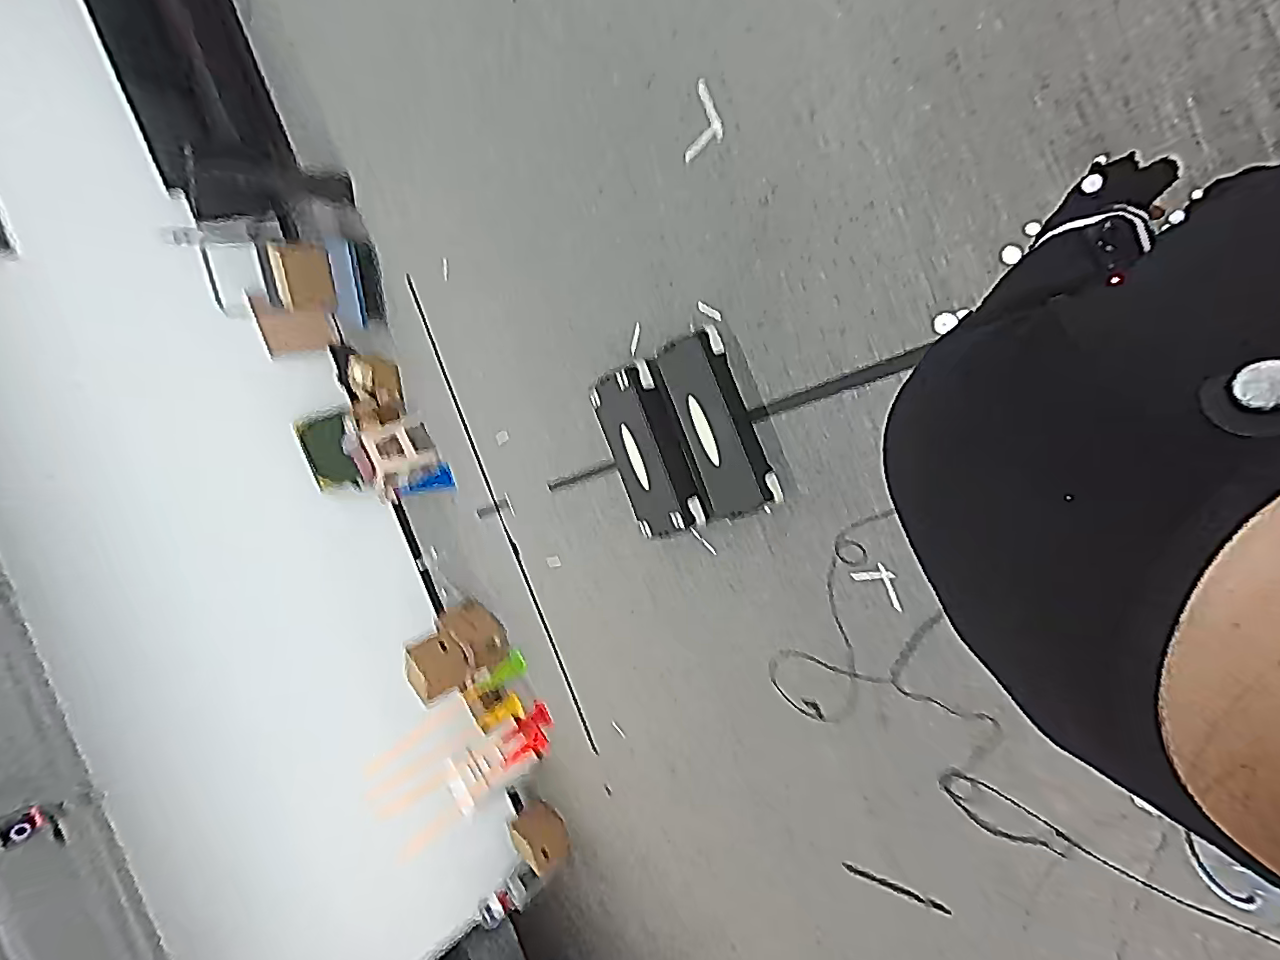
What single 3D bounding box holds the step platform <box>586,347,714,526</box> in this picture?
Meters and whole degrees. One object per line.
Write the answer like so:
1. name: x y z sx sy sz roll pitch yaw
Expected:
1. step platform: 0.032 -0.159 2.131 0.286 0.204 0.684 -20 91 51
